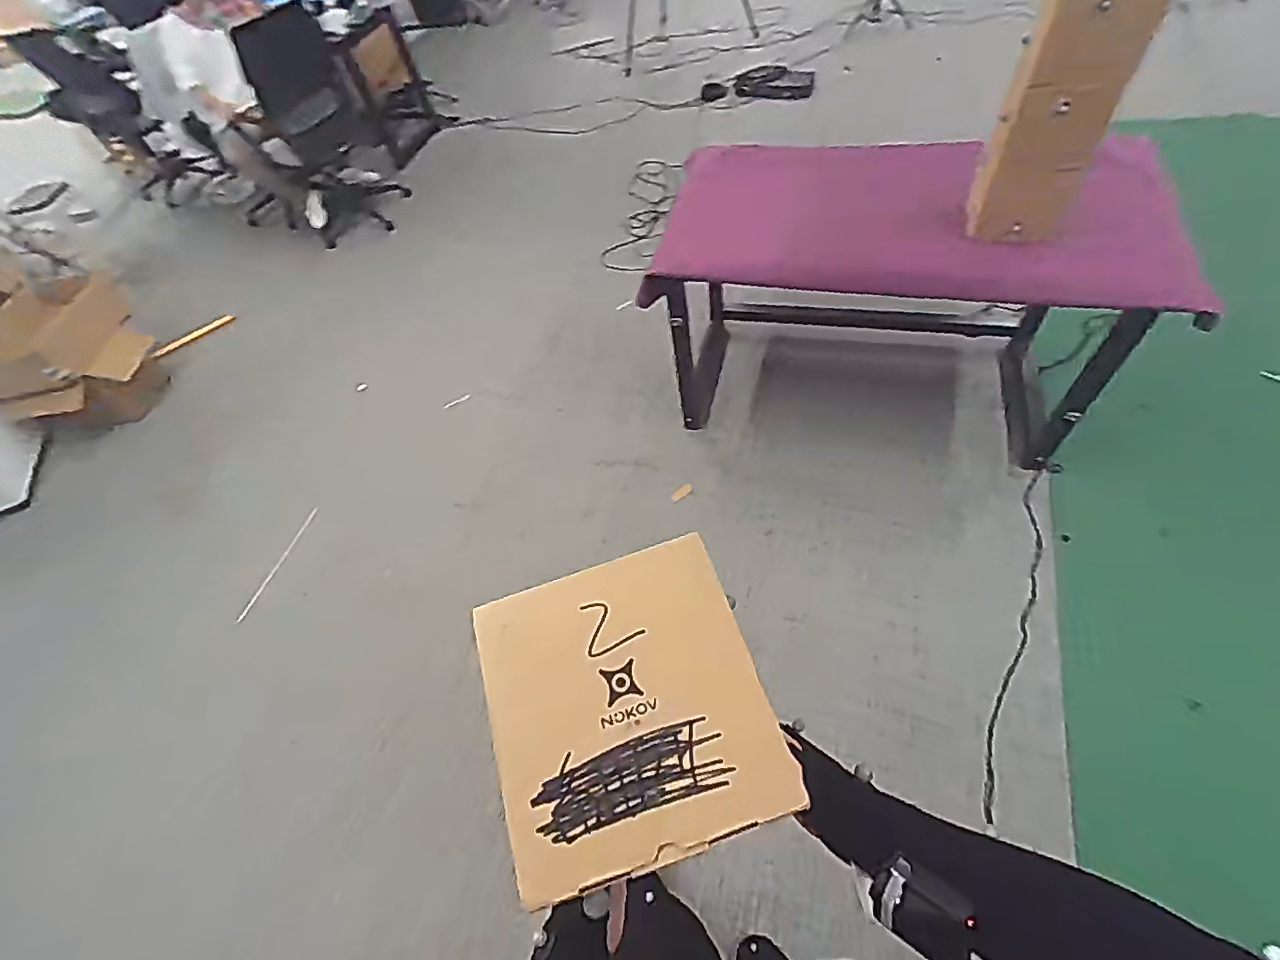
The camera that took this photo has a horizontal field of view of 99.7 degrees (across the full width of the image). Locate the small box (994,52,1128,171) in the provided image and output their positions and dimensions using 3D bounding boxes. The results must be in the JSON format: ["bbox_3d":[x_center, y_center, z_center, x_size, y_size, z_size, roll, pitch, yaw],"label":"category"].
[{"bbox_3d":[0.866,-0.773,1.135,0.179,0.176,0.168,10,60,17],"label":"small box"}]

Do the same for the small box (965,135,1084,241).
[{"bbox_3d":[0.890,-0.682,1.269,0.179,0.176,0.168,9,58,16],"label":"small box"}]

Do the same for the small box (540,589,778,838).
[{"bbox_3d":[0.017,0.235,0.552,0.179,0.176,0.168,-19,62,-4],"label":"small box"}]

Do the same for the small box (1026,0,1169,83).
[{"bbox_3d":[0.843,-0.865,1.001,0.179,0.176,0.168,9,60,16],"label":"small box"}]
